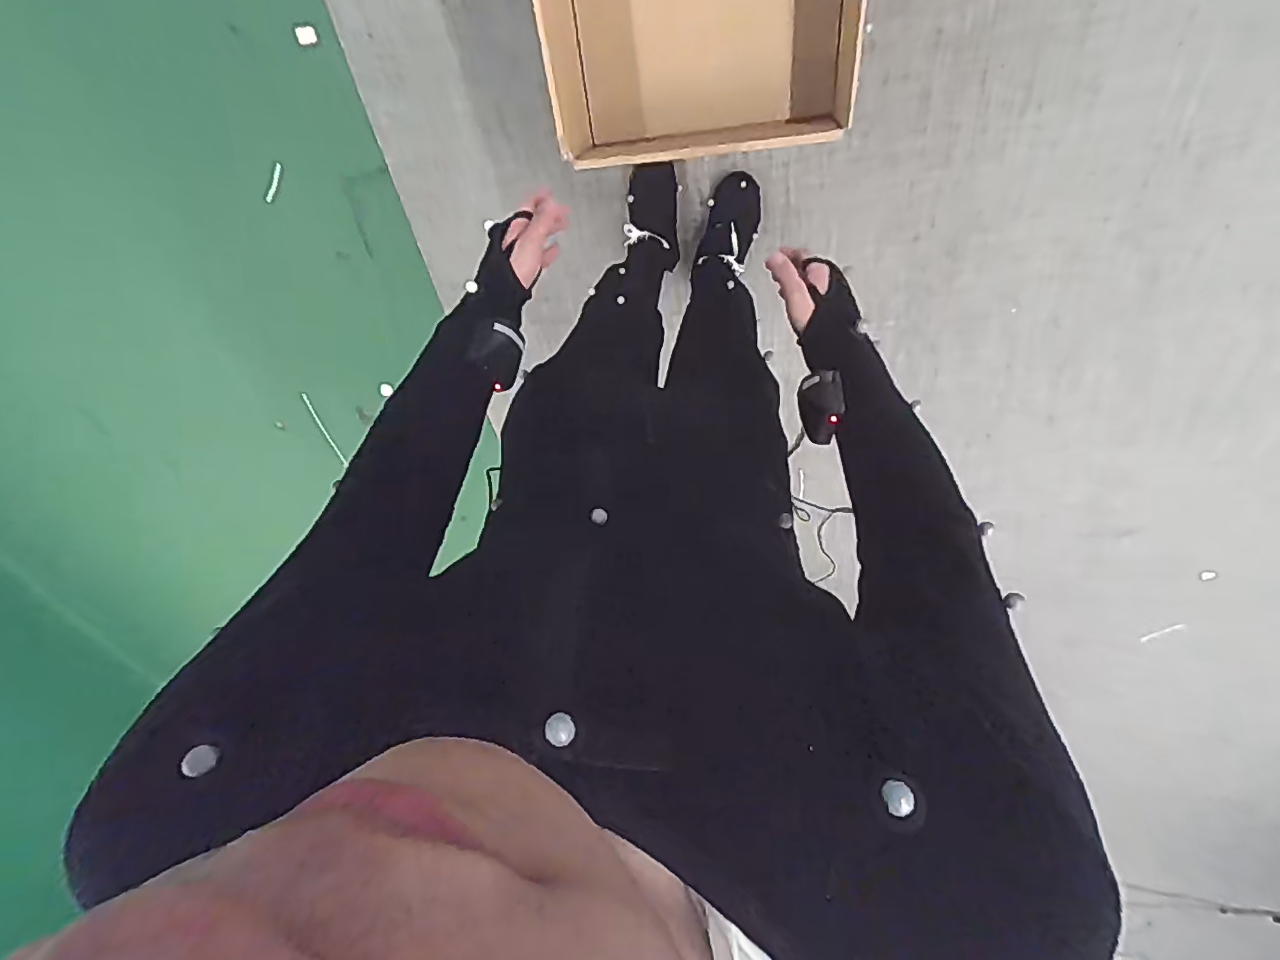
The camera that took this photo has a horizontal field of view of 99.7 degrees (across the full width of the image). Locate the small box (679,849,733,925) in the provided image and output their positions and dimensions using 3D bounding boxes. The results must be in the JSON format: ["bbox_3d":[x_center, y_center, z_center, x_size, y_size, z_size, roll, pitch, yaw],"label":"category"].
[{"bbox_3d":[0.239,1.440,1.918,0.168,0.176,0.179,-3,128,15],"label":"small box"}]
